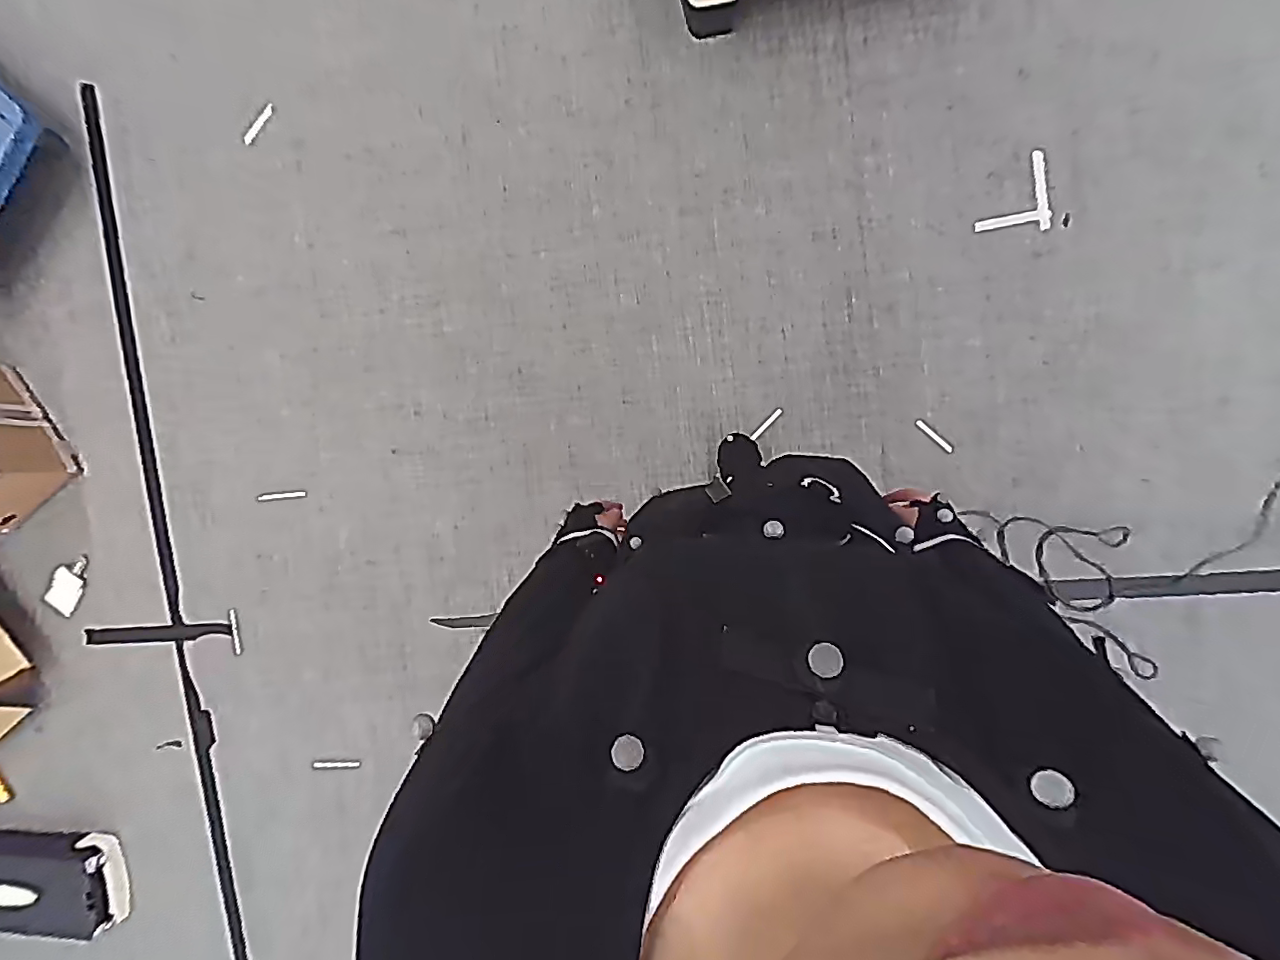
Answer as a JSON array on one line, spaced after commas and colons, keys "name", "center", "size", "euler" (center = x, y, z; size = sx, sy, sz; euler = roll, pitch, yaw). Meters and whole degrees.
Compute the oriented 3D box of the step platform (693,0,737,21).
[{"name": "step platform", "center": [0.427, -1.242, 1.130], "size": [0.684, 0.204, 0.286], "euler": [-6, 93, 9]}]
